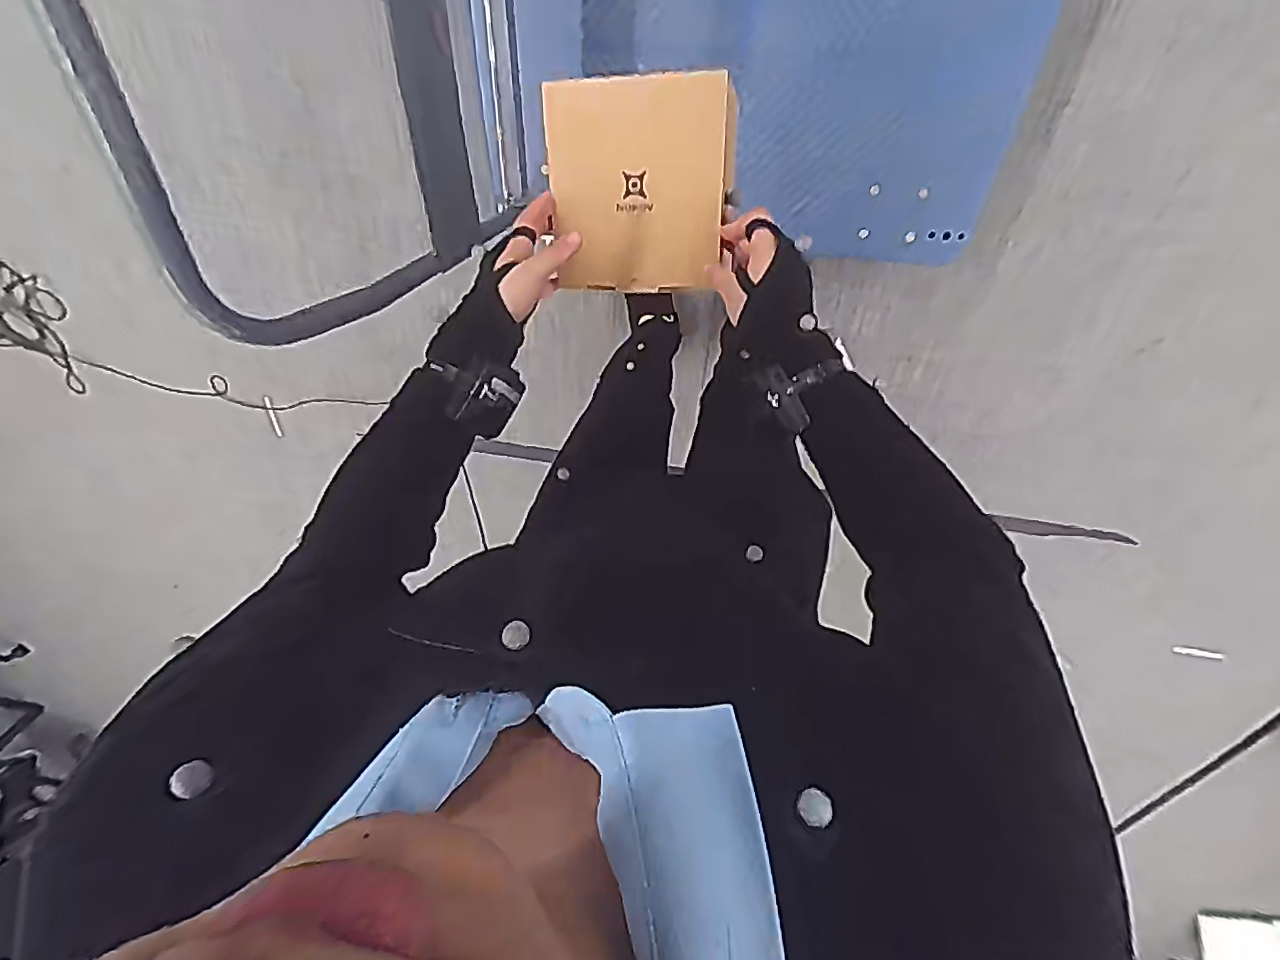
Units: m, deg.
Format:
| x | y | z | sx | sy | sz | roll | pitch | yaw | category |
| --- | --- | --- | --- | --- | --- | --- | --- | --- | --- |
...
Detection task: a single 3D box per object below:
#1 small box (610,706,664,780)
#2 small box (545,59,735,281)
| x | y | z | sx | sy | sz | roll | pitch | yaw | category |
| --- | --- | --- | --- | --- | --- | --- | --- | --- | --- |
| -0.009 | 0.967 | 1.990 | 0.168 | 0.176 | 0.179 | 10 | 127 | 1 | small box |
| 0.011 | -0.313 | 0.568 | 0.168 | 0.176 | 0.179 | 4 | 119 | 10 | small box |
